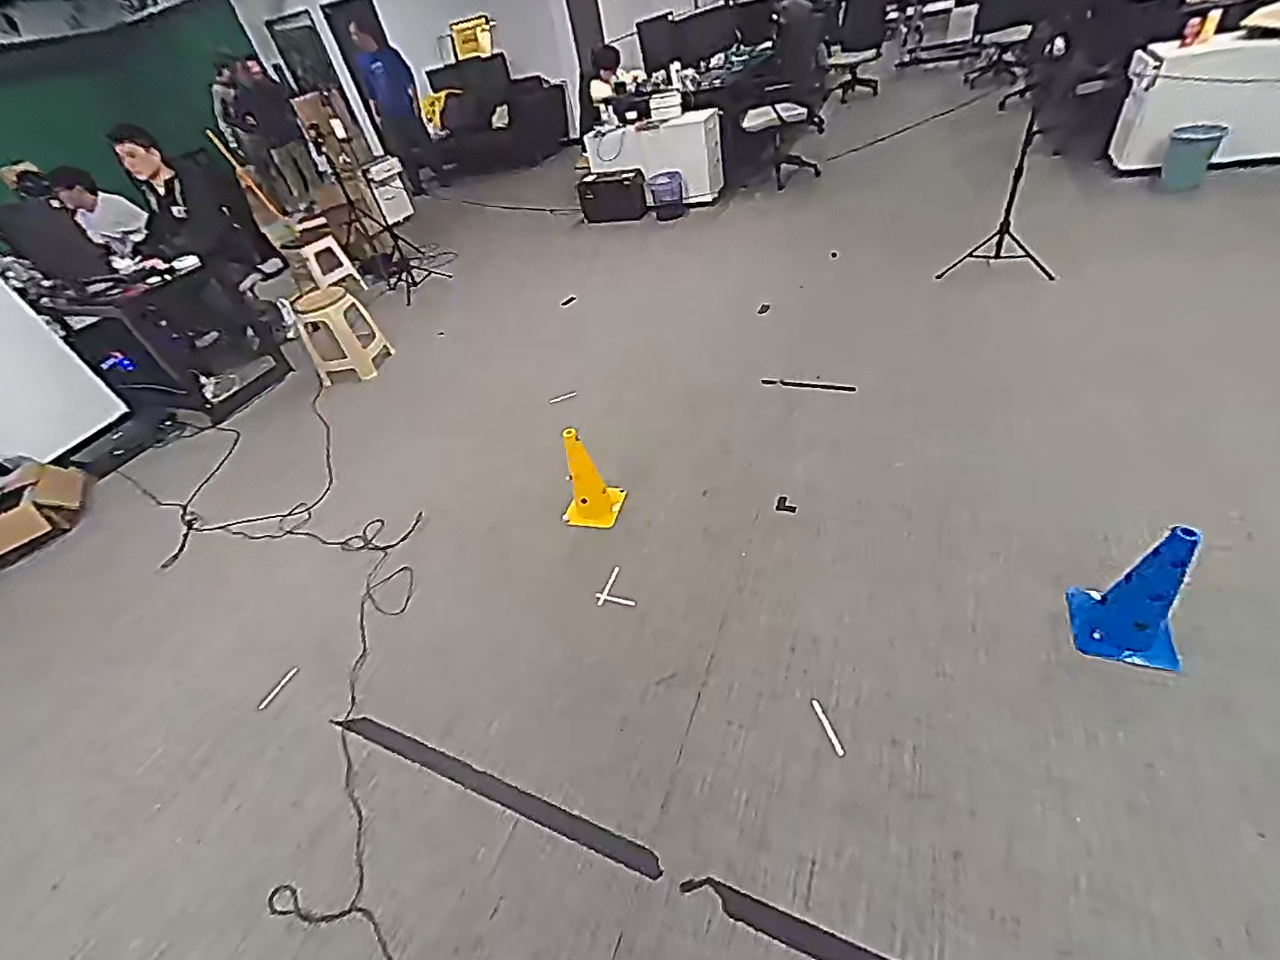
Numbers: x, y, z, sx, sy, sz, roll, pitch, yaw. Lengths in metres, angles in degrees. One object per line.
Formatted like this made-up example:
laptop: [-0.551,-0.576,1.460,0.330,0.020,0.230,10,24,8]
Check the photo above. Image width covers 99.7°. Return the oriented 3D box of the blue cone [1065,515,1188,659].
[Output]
blue cone: [1.157,0.230,1.244,0.193,0.380,0.192,9,45,24]
